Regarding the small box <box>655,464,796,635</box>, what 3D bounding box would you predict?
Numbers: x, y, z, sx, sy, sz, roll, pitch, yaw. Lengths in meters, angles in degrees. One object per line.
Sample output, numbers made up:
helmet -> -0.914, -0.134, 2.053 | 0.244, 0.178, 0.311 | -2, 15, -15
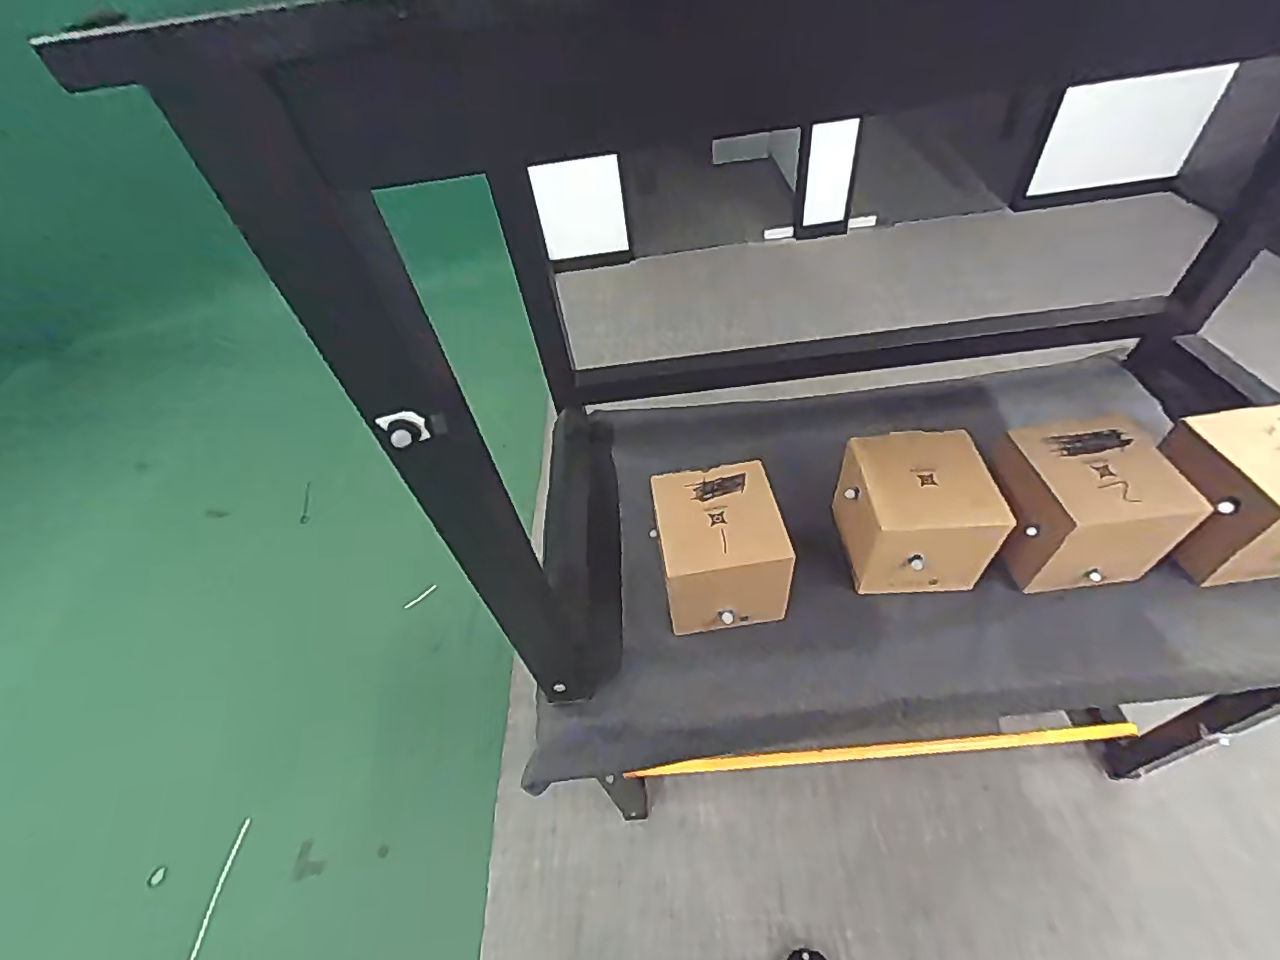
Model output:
small box -> 0.117, 0.103, 0.797 | 0.168, 0.176, 0.179 | -9, 49, 1

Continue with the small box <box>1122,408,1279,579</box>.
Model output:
small box -> 0.846, 0.025, 0.753 | 0.168, 0.176, 0.179 | -7, 47, 2

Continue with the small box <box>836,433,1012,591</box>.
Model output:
small box -> 0.402, 0.054, 0.801 | 0.168, 0.176, 0.179 | -4, 48, 6
